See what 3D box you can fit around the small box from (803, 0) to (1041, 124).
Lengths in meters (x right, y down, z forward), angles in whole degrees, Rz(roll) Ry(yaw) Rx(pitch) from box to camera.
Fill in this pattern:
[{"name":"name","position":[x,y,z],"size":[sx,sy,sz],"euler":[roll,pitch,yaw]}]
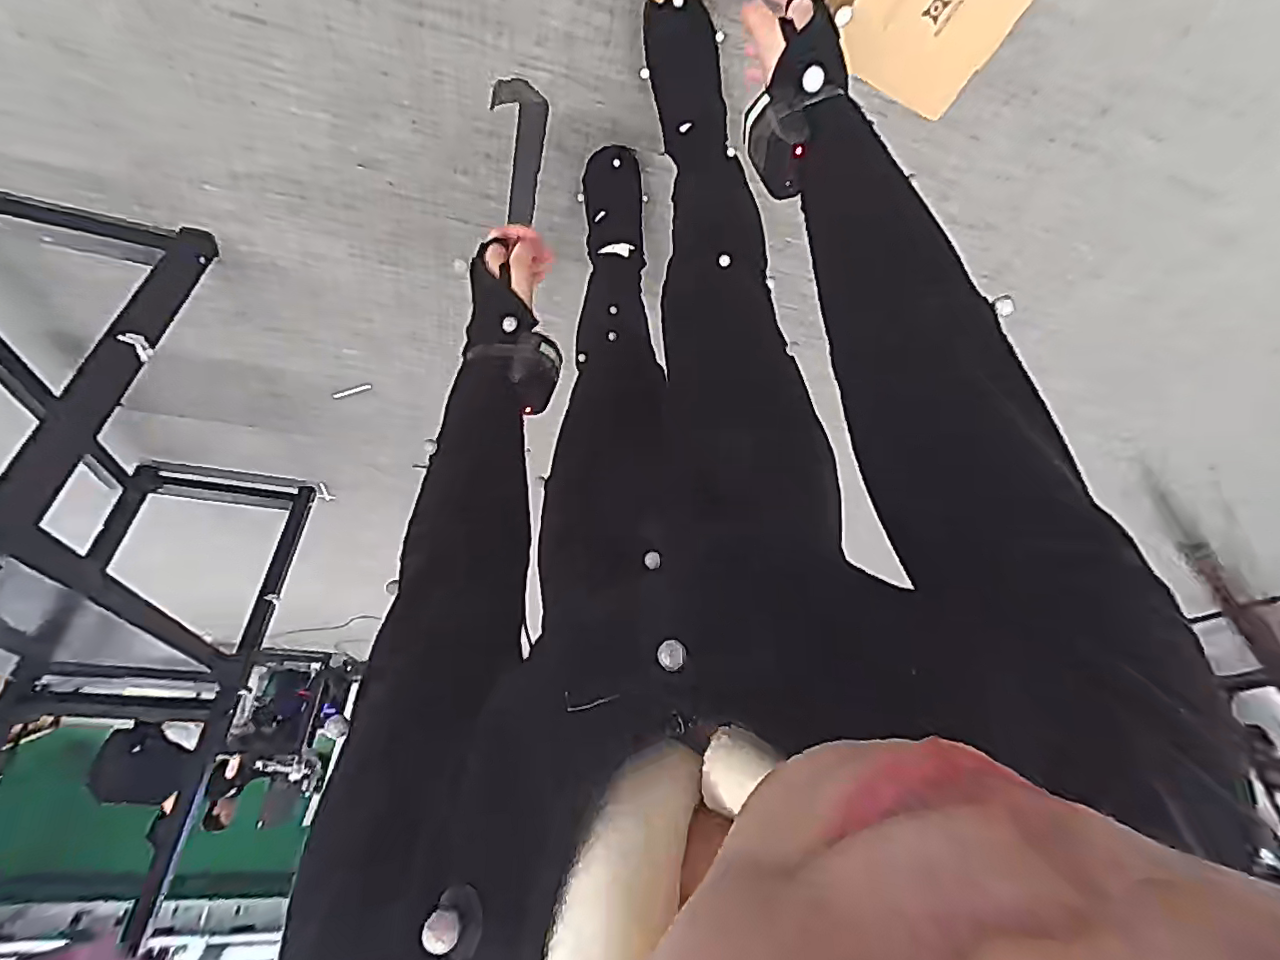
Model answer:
[{"name":"small box","position":[0.310,-0.554,0.602],"size":[0.179,0.176,0.168],"euler":[13,145,-21]}]
